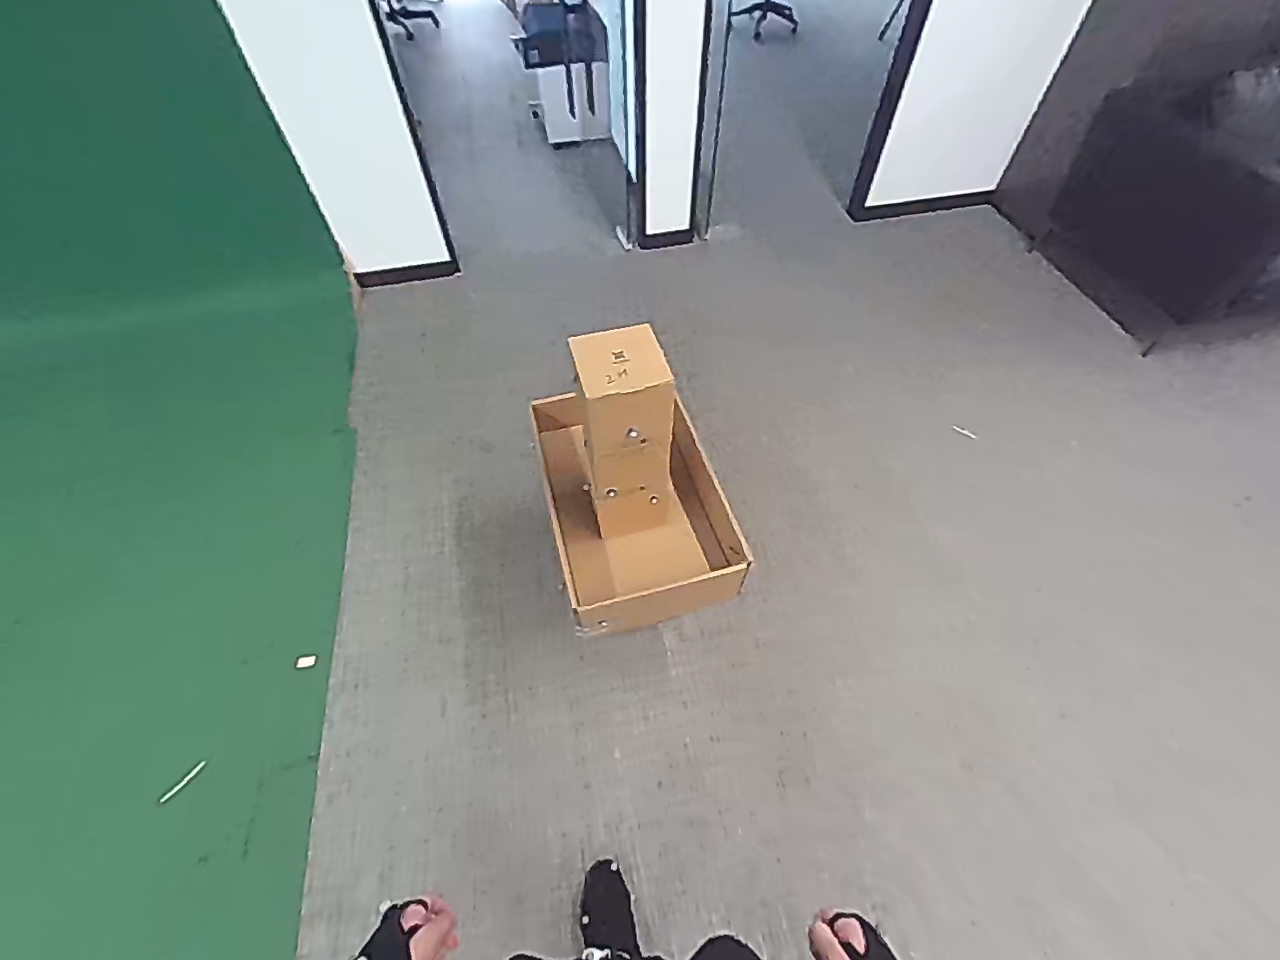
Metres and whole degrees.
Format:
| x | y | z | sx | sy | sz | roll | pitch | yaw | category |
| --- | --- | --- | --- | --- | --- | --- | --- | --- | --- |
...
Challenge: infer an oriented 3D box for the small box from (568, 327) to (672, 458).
| x | y | z | sx | sy | sz | roll | pitch | yaw | category |
| --- | --- | --- | --- | --- | --- | --- | --- | --- | --- |
| -0.042 | -0.172 | 1.071 | 0.168 | 0.176 | 0.179 | -12 | 54 | -8 | small box |

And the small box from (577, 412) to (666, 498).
| x | y | z | sx | sy | sz | roll | pitch | yaw | category |
| --- | --- | --- | --- | --- | --- | --- | --- | --- | --- |
| -0.041 | -0.075 | 1.204 | 0.168 | 0.176 | 0.179 | -11 | 53 | -8 | small box |

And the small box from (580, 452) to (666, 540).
| x | y | z | sx | sy | sz | roll | pitch | yaw | category |
| --- | --- | --- | --- | --- | --- | --- | --- | --- | --- |
| -0.041 | 0.028 | 1.332 | 0.179 | 0.176 | 0.168 | -12 | 54 | -9 | small box |
